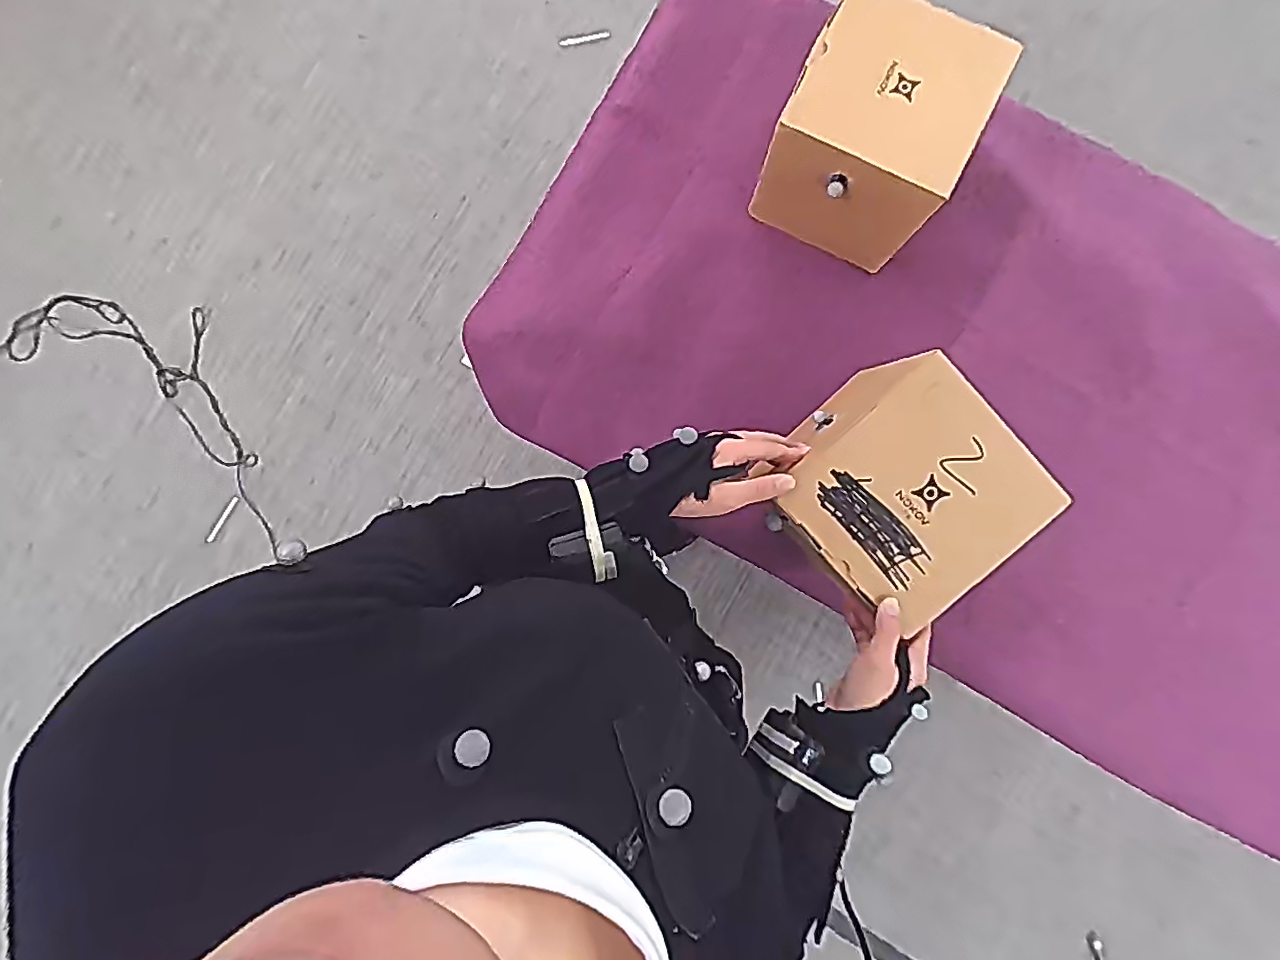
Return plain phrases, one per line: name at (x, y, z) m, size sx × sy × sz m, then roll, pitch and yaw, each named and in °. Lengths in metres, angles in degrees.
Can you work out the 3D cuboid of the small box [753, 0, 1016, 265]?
small box at (0.246, -0.365, 0.591) m, size 0.179 × 0.176 × 0.168 m, roll 27°, pitch 89°, yaw 3°
